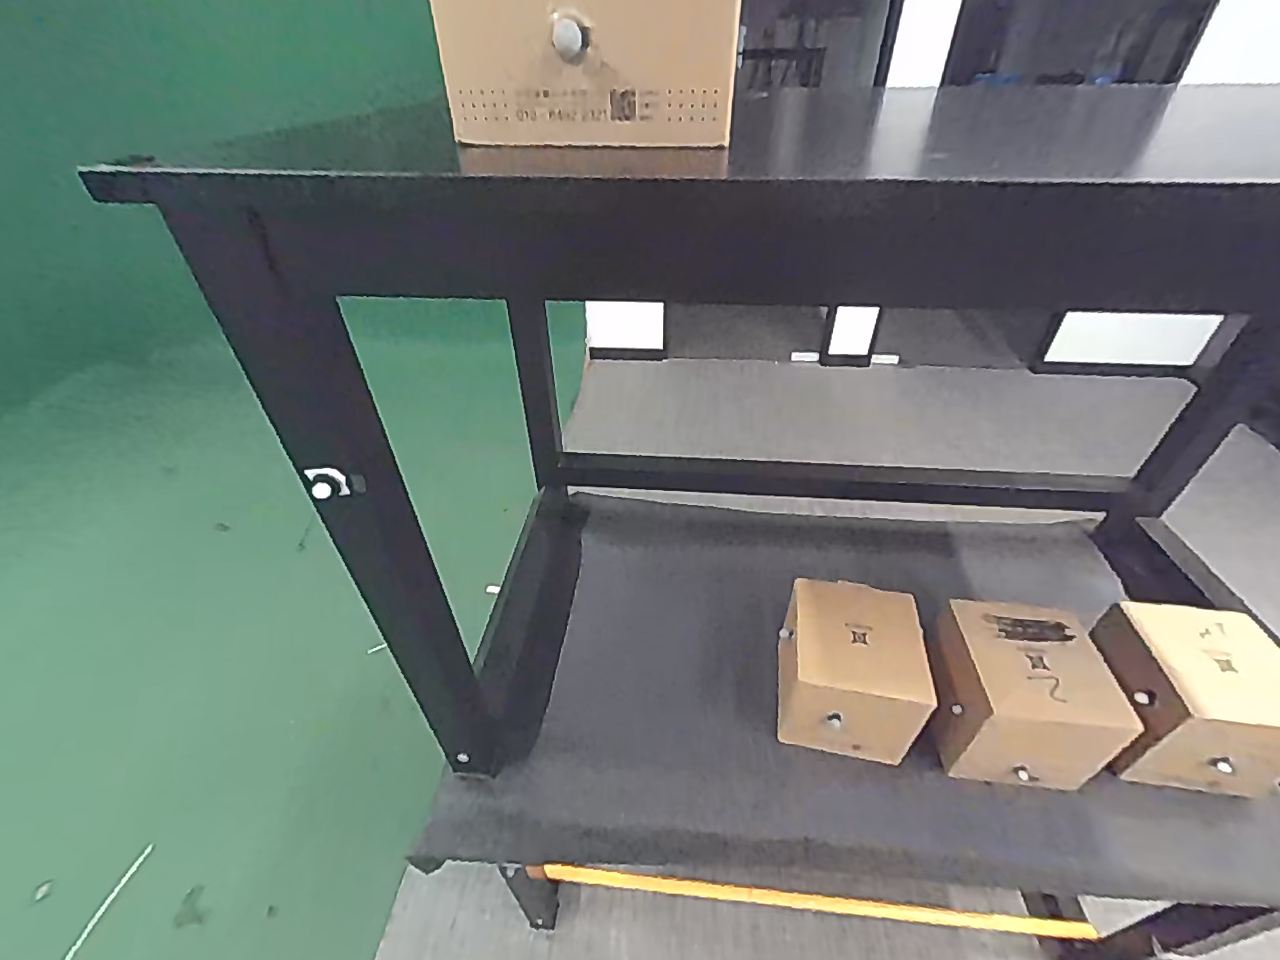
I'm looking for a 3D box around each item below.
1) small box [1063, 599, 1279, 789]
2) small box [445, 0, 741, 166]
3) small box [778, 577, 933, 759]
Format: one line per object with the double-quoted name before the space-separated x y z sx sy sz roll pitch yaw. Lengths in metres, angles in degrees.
"small box" 0.734 0.291 0.736 0.168 0.176 0.179 5 38 7
"small box" -0.020 -0.310 0.339 0.168 0.176 0.179 4 40 6
"small box" 0.296 0.270 0.779 0.168 0.176 0.179 7 39 10
